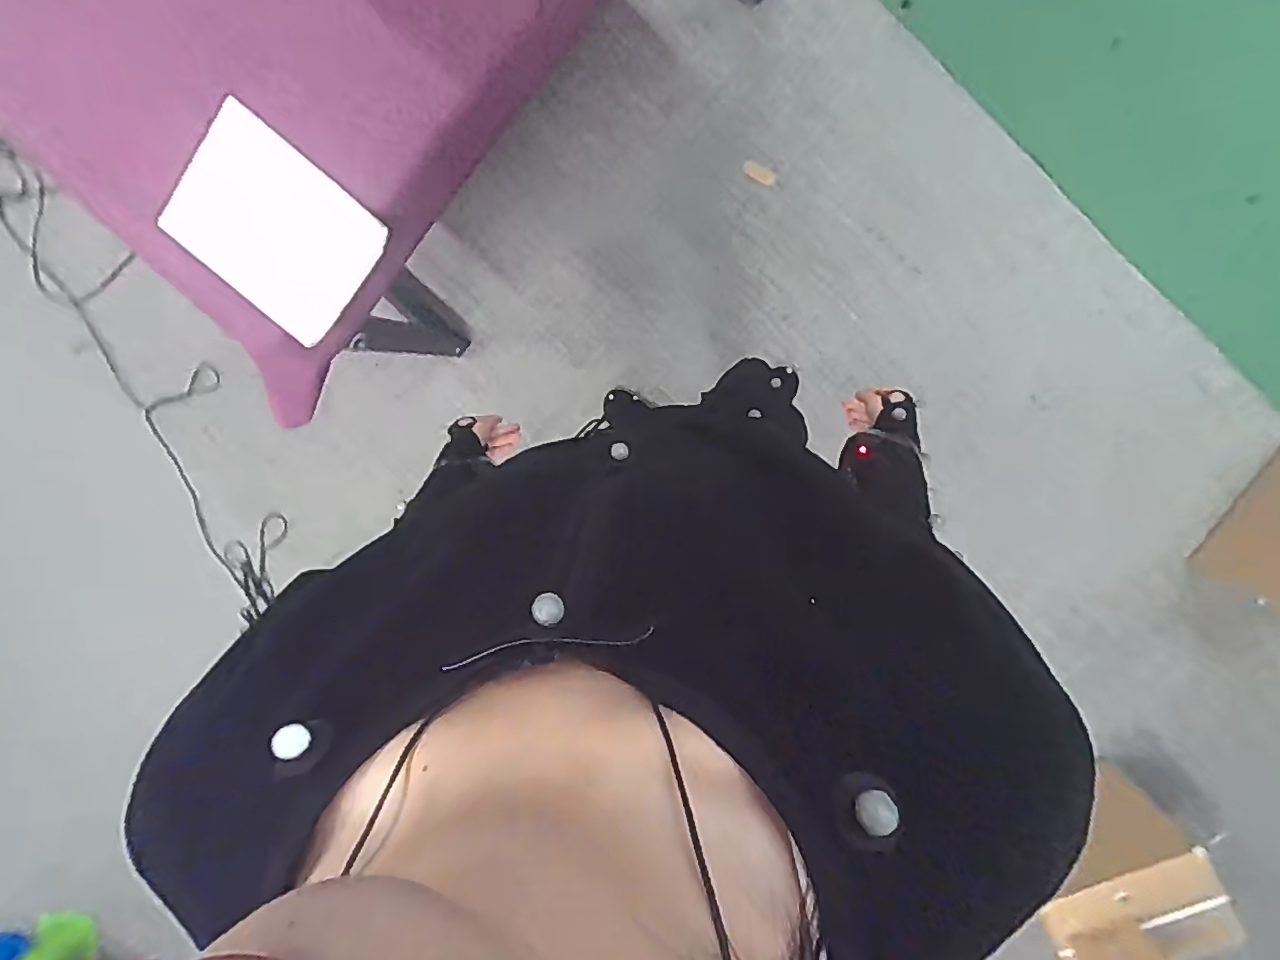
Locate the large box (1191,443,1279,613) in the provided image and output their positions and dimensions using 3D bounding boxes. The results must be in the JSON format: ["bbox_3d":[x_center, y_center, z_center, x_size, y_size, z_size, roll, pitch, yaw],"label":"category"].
[{"bbox_3d":[1.683,0.151,1.274,0.320,0.320,0.408,28,100,-2],"label":"large box"}]

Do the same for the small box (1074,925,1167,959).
[{"bbox_3d":[1.176,1.202,1.261,0.168,0.176,0.179,-28,99,9],"label":"small box"}]
